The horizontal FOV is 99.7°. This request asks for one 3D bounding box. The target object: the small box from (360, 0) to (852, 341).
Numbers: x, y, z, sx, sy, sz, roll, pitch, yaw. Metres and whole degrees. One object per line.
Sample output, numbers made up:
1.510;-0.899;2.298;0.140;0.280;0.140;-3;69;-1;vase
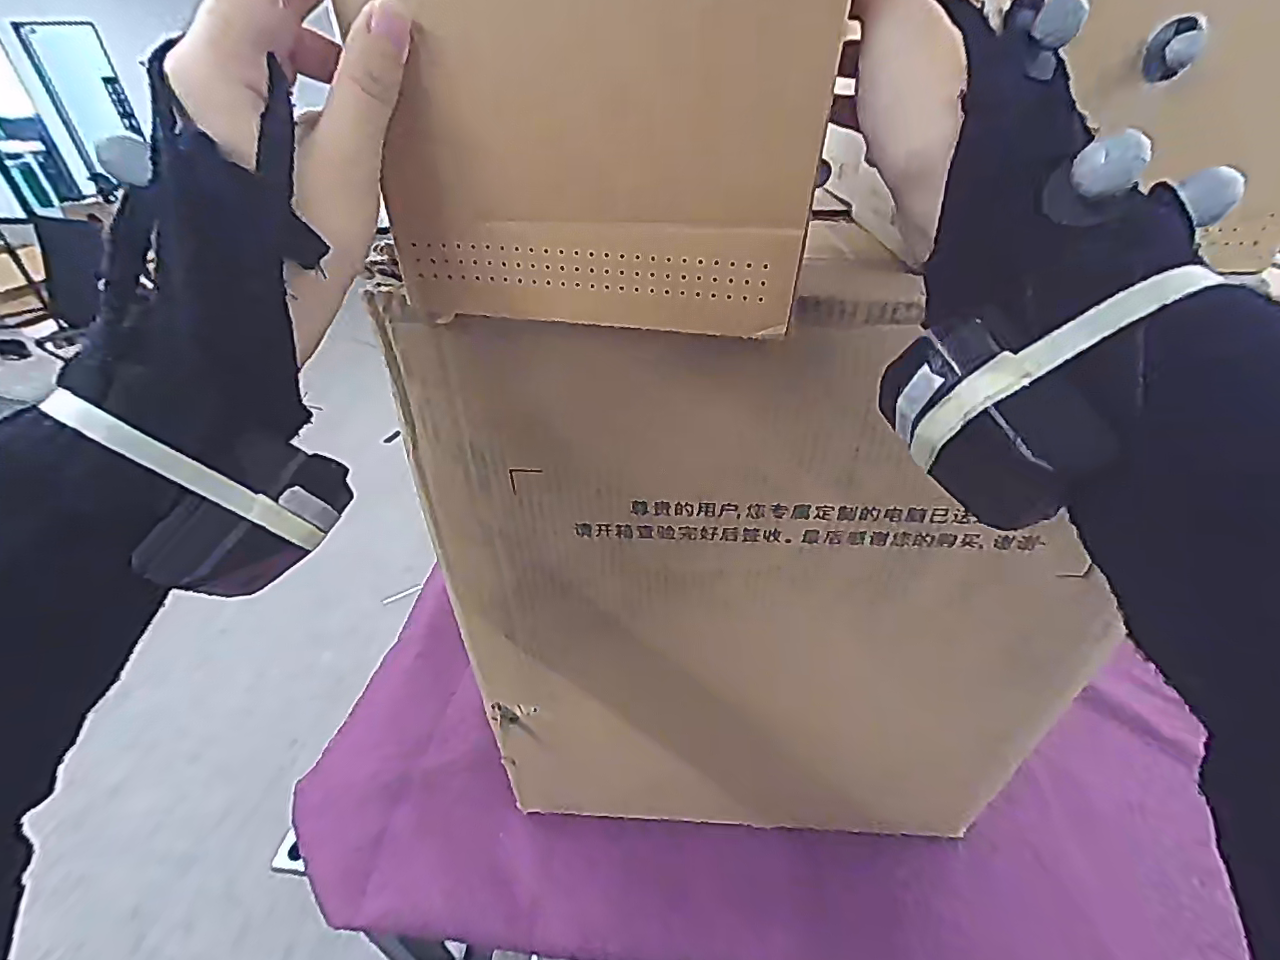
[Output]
-0.007;-0.176;0.252;0.179;0.176;0.168;7;38;6;small box
